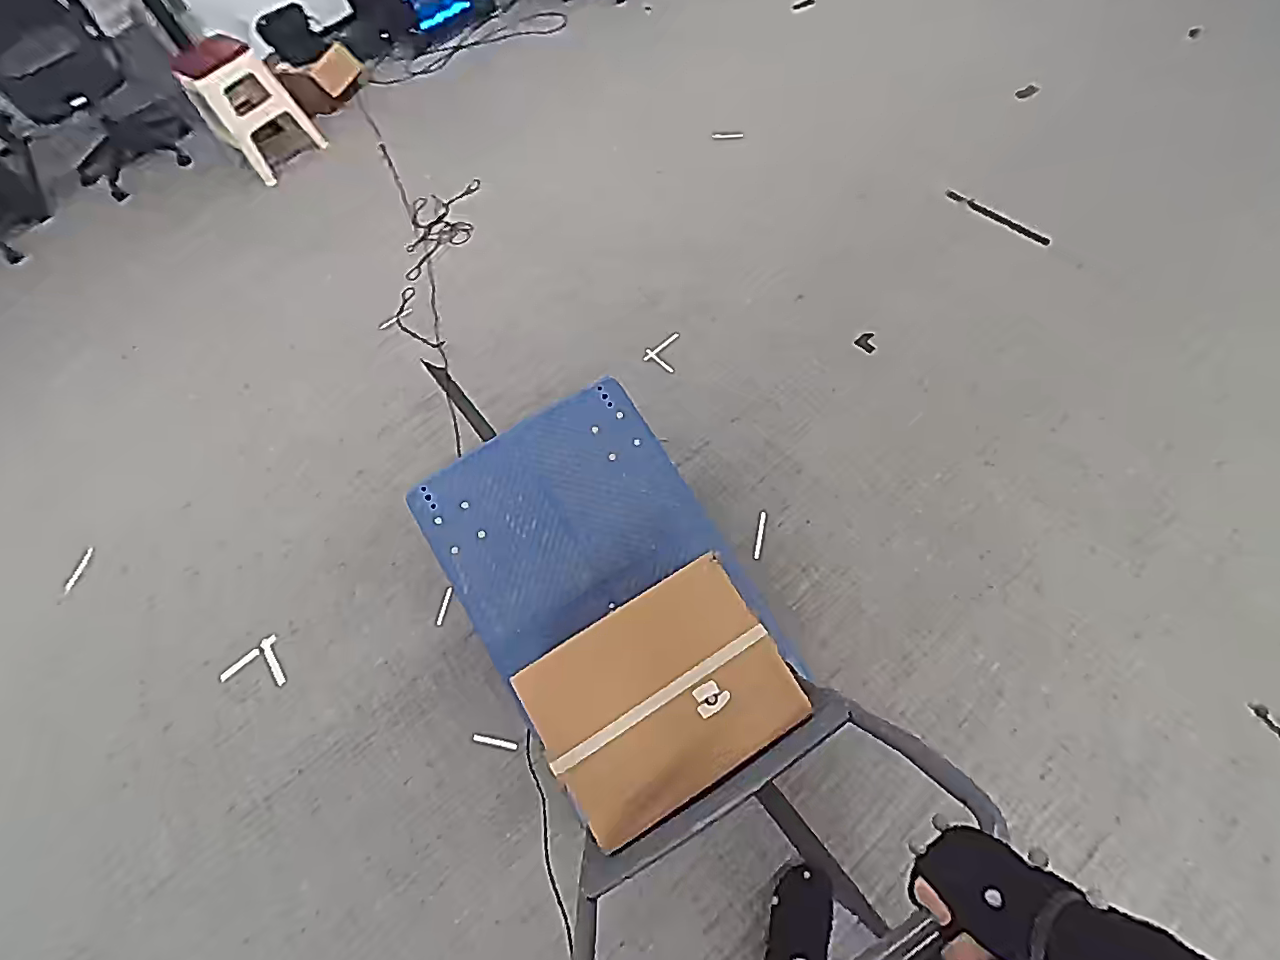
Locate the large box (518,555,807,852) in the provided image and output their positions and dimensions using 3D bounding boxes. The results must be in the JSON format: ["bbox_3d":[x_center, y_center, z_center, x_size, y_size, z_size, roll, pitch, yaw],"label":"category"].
[{"bbox_3d":[0.034,0.397,1.051,0.408,0.320,0.320,-32,80,-9],"label":"large box"}]
